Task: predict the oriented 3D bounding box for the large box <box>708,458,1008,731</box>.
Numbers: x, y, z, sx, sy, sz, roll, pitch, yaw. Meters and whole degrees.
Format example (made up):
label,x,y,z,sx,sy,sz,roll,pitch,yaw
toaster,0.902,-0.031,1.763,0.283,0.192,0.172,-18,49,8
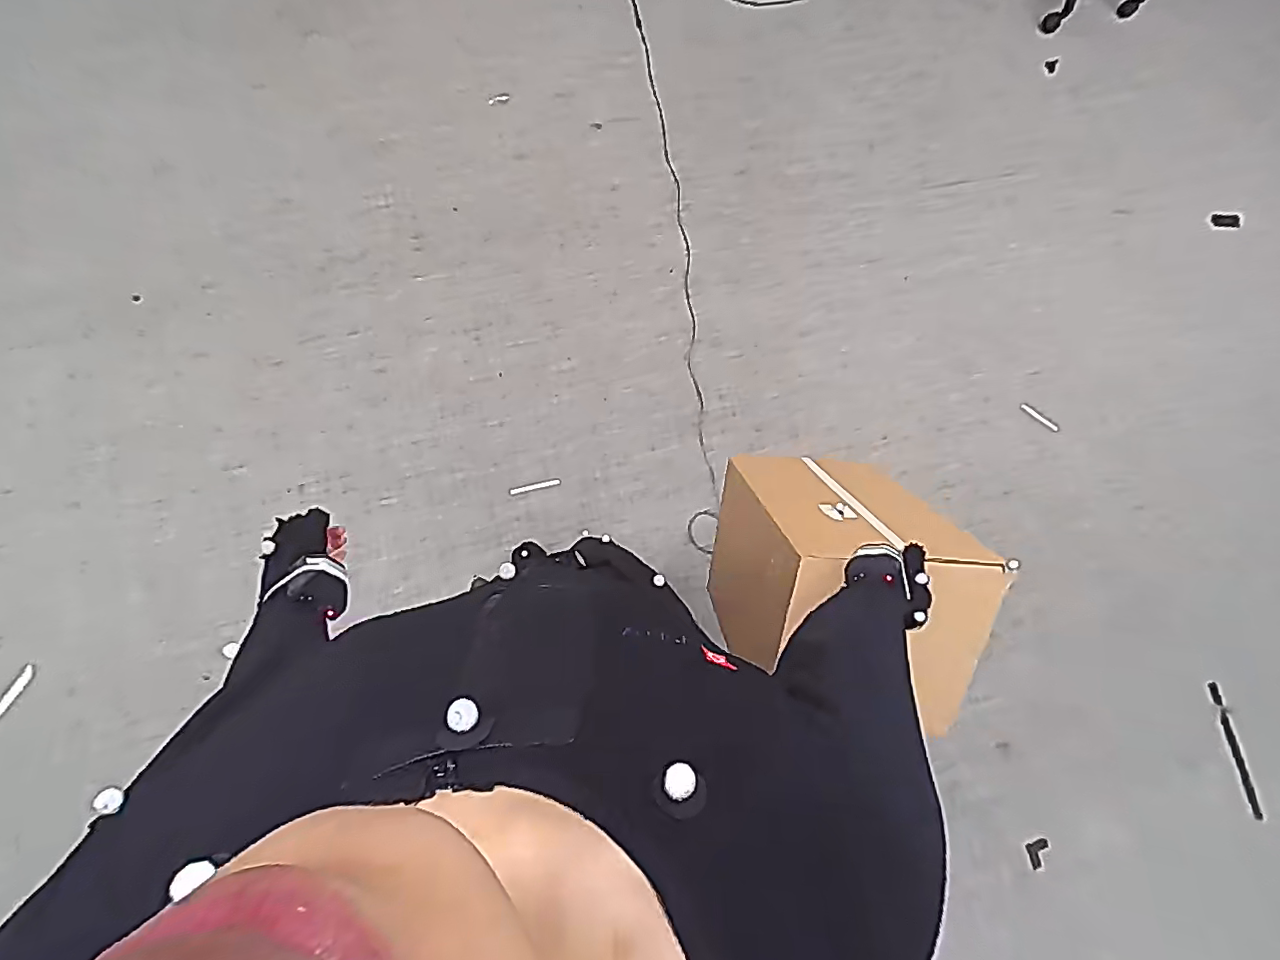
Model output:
label,x,y,z,sx,sy,sz,roll,pitch,yaw
large box,0.335,0.182,0.980,0.320,0.408,0.320,3,113,-7
